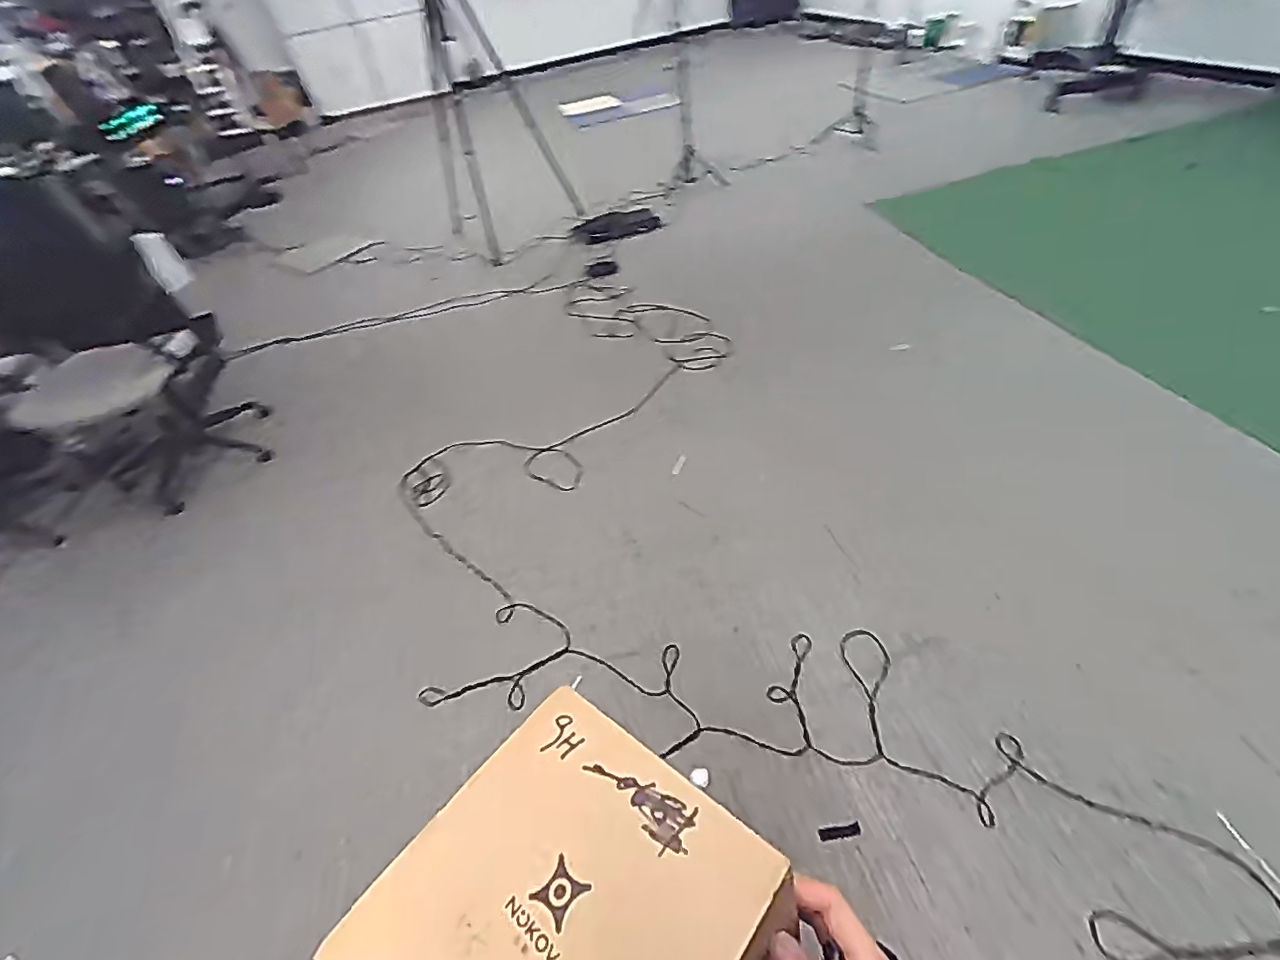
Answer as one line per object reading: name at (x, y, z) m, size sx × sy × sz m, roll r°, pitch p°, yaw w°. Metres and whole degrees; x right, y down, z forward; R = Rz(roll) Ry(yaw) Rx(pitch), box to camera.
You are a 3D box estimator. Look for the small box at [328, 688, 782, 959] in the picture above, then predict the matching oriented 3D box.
small box at (-0.029, 0.270, 0.315) m, size 0.168 × 0.176 × 0.179 m, roll 23°, pitch 52°, yaw 37°
